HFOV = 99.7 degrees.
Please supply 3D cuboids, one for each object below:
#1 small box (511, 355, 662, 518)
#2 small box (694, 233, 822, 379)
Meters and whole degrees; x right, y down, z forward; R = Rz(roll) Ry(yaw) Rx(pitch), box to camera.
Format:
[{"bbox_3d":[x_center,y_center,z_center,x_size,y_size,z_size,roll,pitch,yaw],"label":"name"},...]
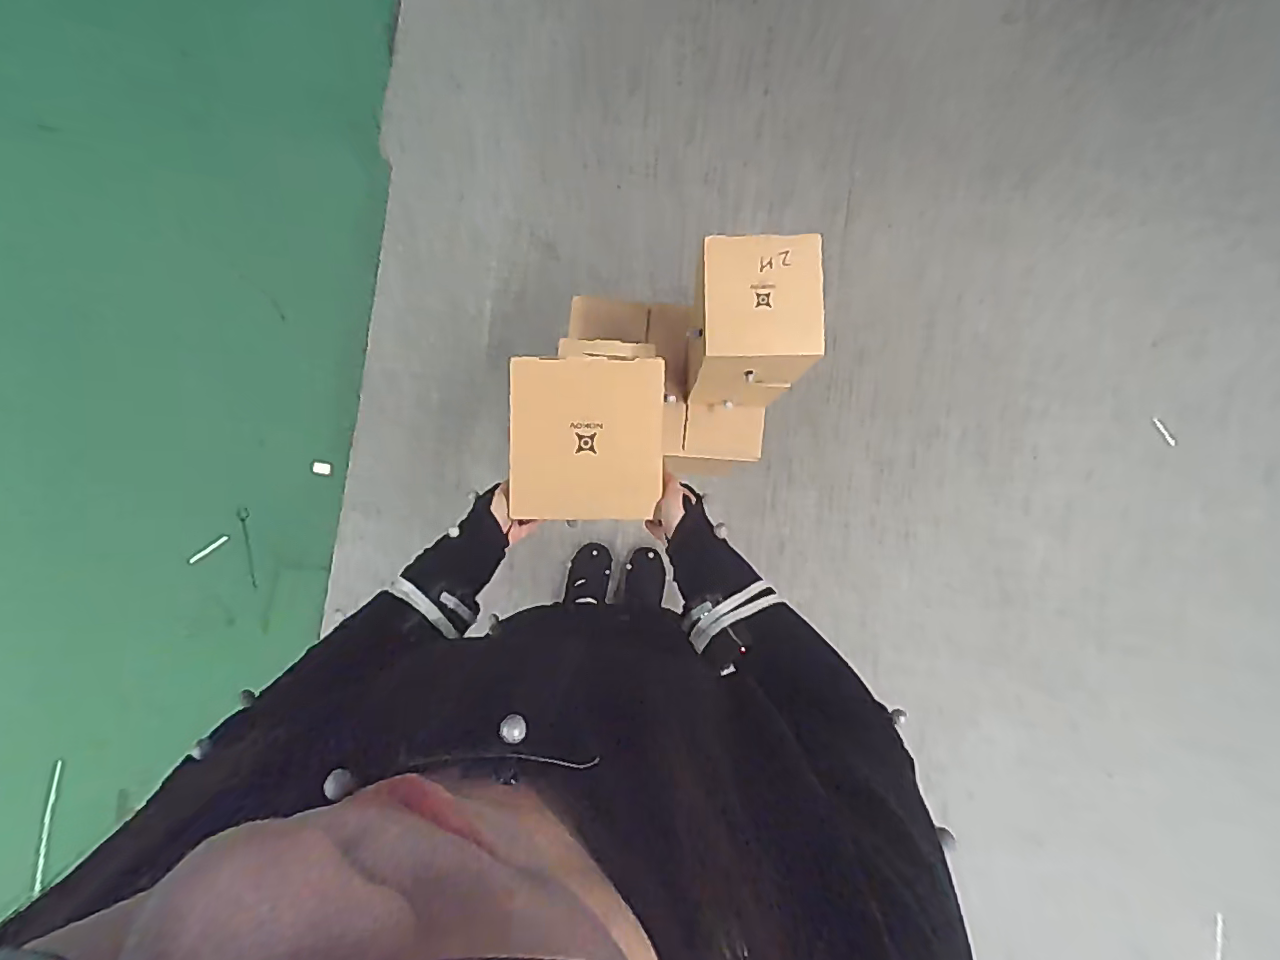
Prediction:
[{"bbox_3d":[-0.057,-0.050,0.667,0.168,0.176,0.179,1,91,0],"label":"small box"},{"bbox_3d":[0.175,-0.258,0.840,0.168,0.176,0.179,1,87,1],"label":"small box"}]
